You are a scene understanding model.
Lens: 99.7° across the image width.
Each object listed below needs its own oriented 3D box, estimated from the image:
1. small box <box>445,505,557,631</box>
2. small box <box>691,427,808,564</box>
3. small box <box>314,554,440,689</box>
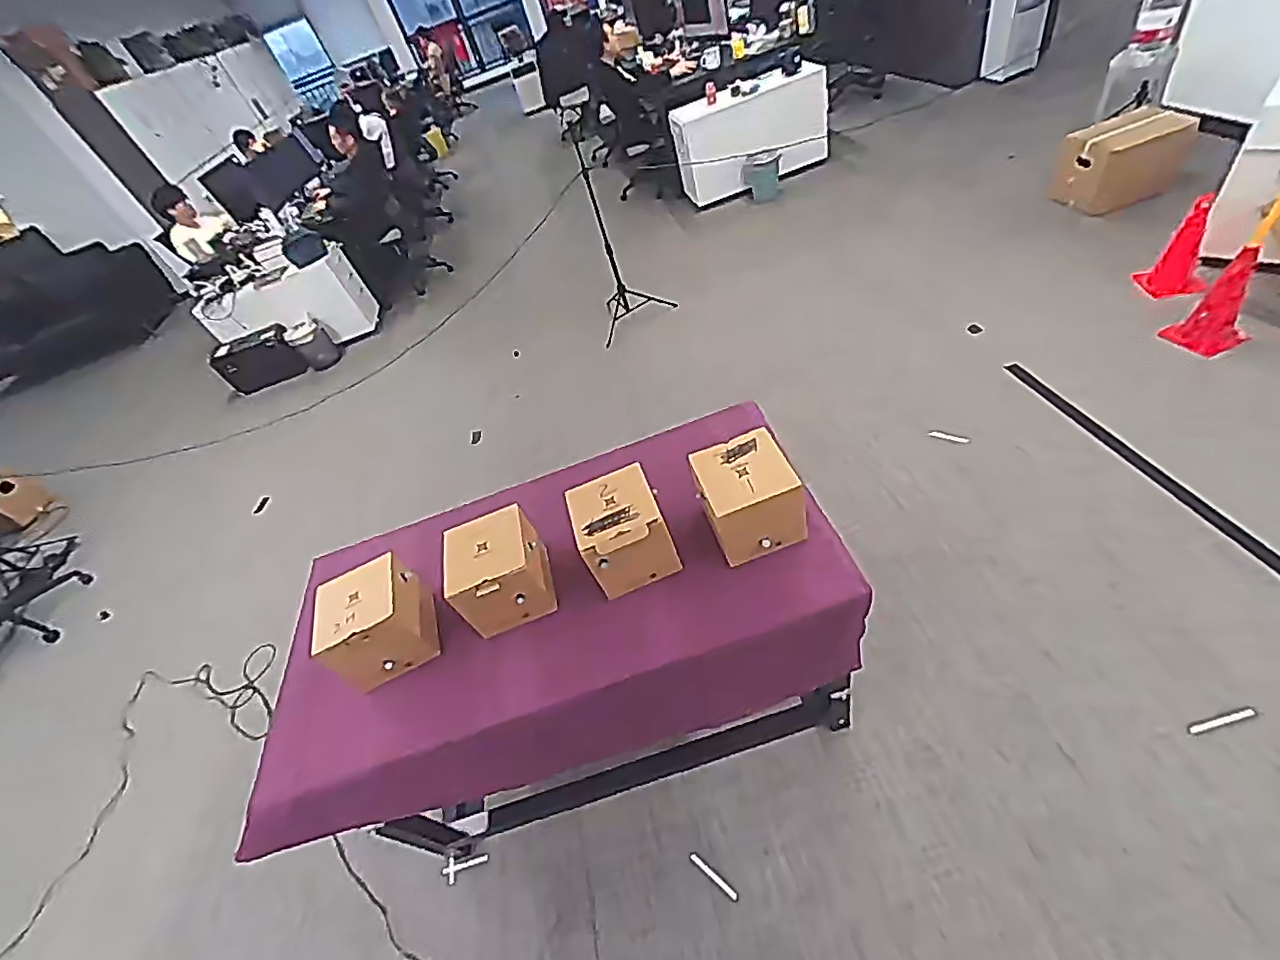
[{"bbox_3d":[-0.283,0.189,1.115,0.168,0.176,0.179,-21,44,0],"label":"small box"},{"bbox_3d":[0.216,0.032,1.064,0.168,0.176,0.179,-22,45,2],"label":"small box"},{"bbox_3d":[-0.533,0.292,1.112,0.168,0.176,0.179,-27,45,-4],"label":"small box"}]
